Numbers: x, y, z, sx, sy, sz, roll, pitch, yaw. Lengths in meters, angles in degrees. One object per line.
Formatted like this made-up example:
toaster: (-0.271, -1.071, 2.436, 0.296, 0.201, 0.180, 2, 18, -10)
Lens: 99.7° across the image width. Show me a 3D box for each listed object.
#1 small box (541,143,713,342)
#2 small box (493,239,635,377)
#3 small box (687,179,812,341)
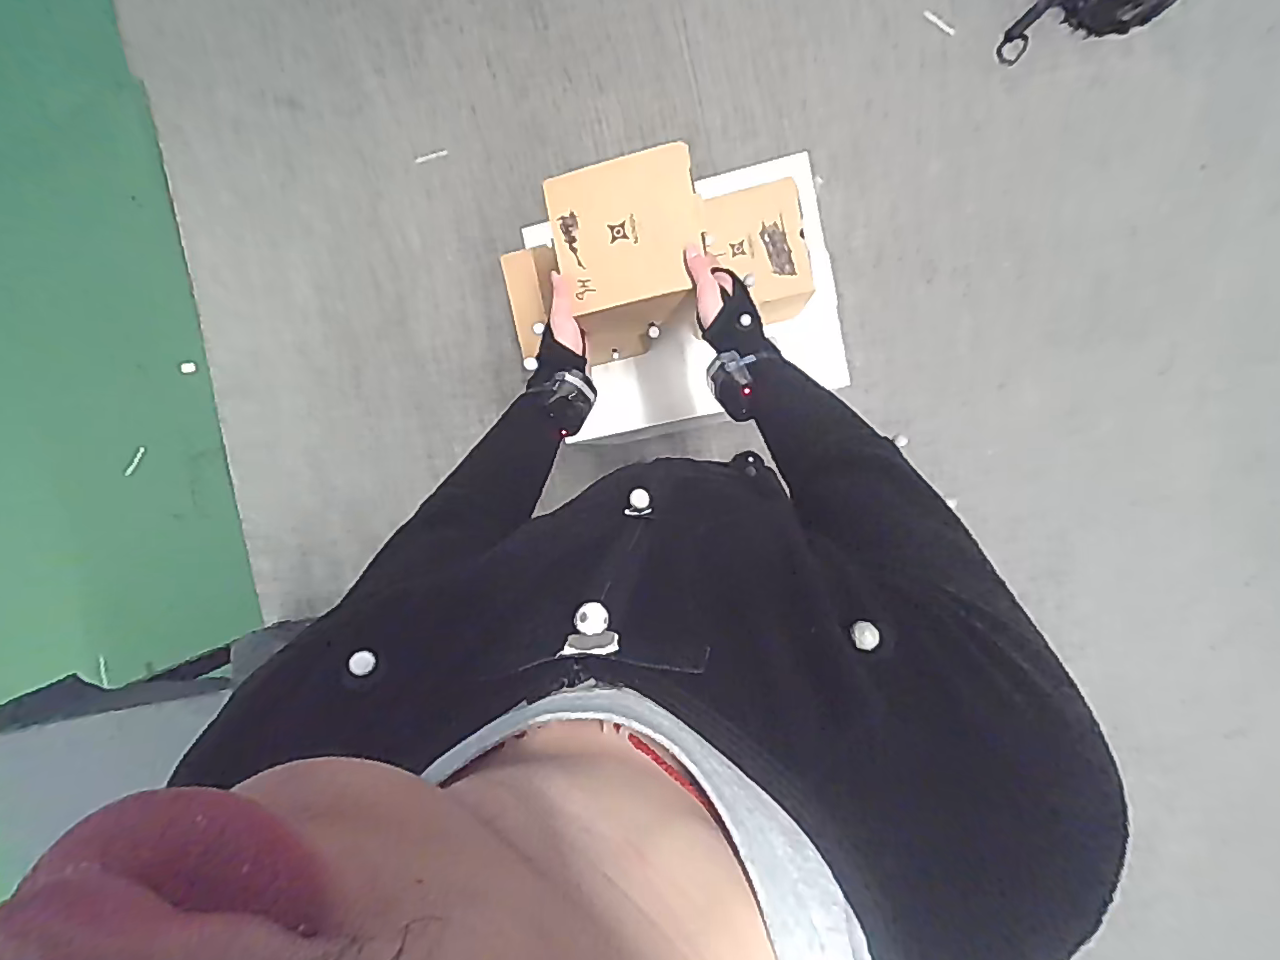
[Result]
small box: (-0.009, -0.287, 0.693, 0.179, 0.176, 0.168, -11, 92, 6)
small box: (-0.109, -0.273, 0.869, 0.179, 0.176, 0.168, -13, 90, 6)
small box: (0.150, -0.327, 0.839, 0.179, 0.176, 0.168, -11, 92, 7)
